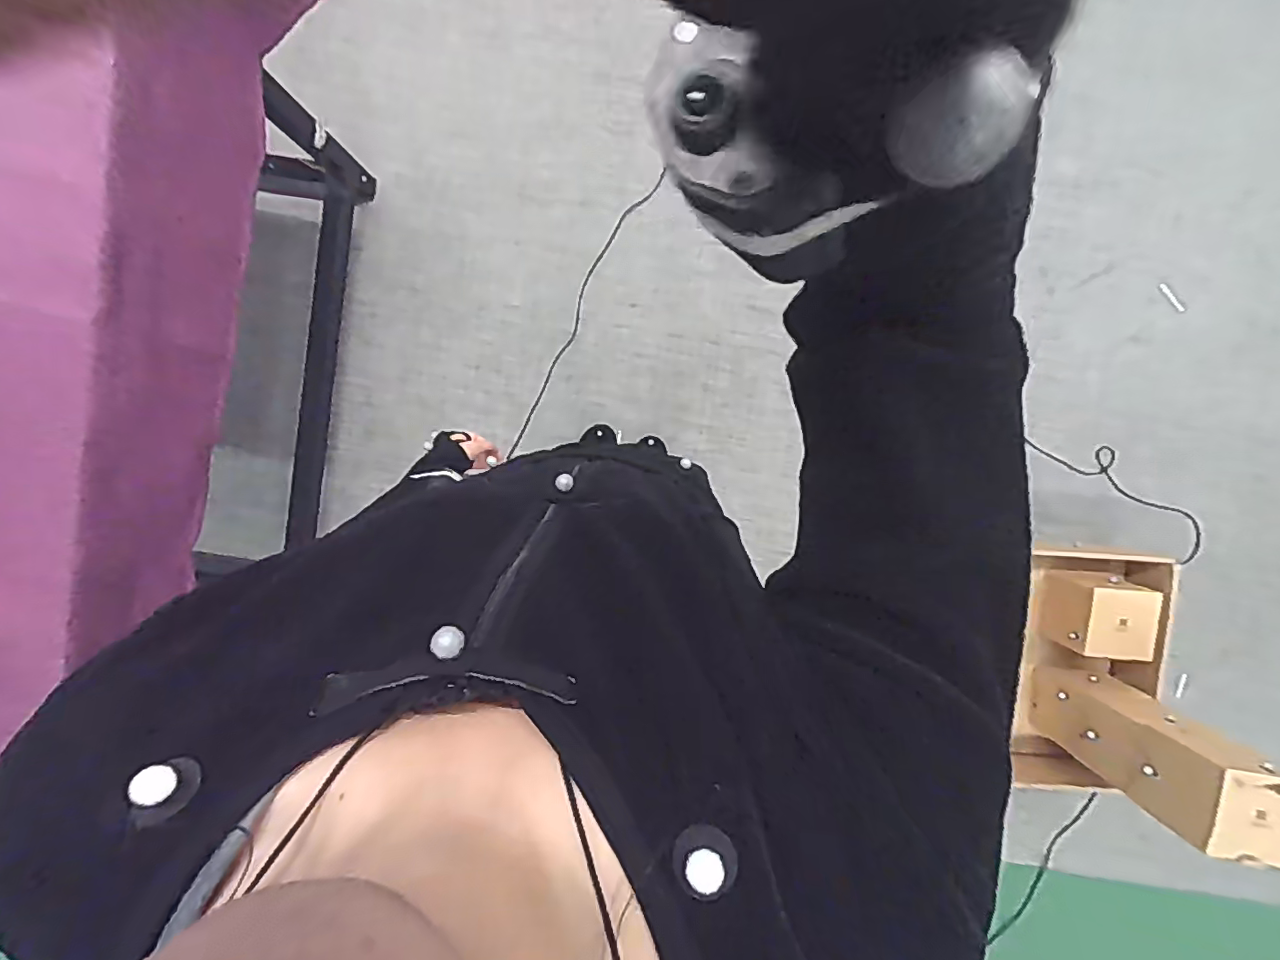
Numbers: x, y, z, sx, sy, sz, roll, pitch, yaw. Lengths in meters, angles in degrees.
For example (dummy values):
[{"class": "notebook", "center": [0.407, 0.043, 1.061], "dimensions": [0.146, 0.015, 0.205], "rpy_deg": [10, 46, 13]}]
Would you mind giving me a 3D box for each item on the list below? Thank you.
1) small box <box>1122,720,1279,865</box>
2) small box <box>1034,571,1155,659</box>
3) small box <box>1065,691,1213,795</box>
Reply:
[{"class": "small box", "center": [1.139, 0.624, 1.096], "dimensions": [0.168, 0.176, 0.179], "rpy_deg": [10, 95, -1]}, {"class": "small box", "center": [1.167, 0.342, 1.402], "dimensions": [0.168, 0.176, 0.179], "rpy_deg": [4, 96, 1]}, {"class": "small box", "center": [1.153, 0.613, 1.261], "dimensions": [0.179, 0.176, 0.168], "rpy_deg": [6, 94, 0]}]
